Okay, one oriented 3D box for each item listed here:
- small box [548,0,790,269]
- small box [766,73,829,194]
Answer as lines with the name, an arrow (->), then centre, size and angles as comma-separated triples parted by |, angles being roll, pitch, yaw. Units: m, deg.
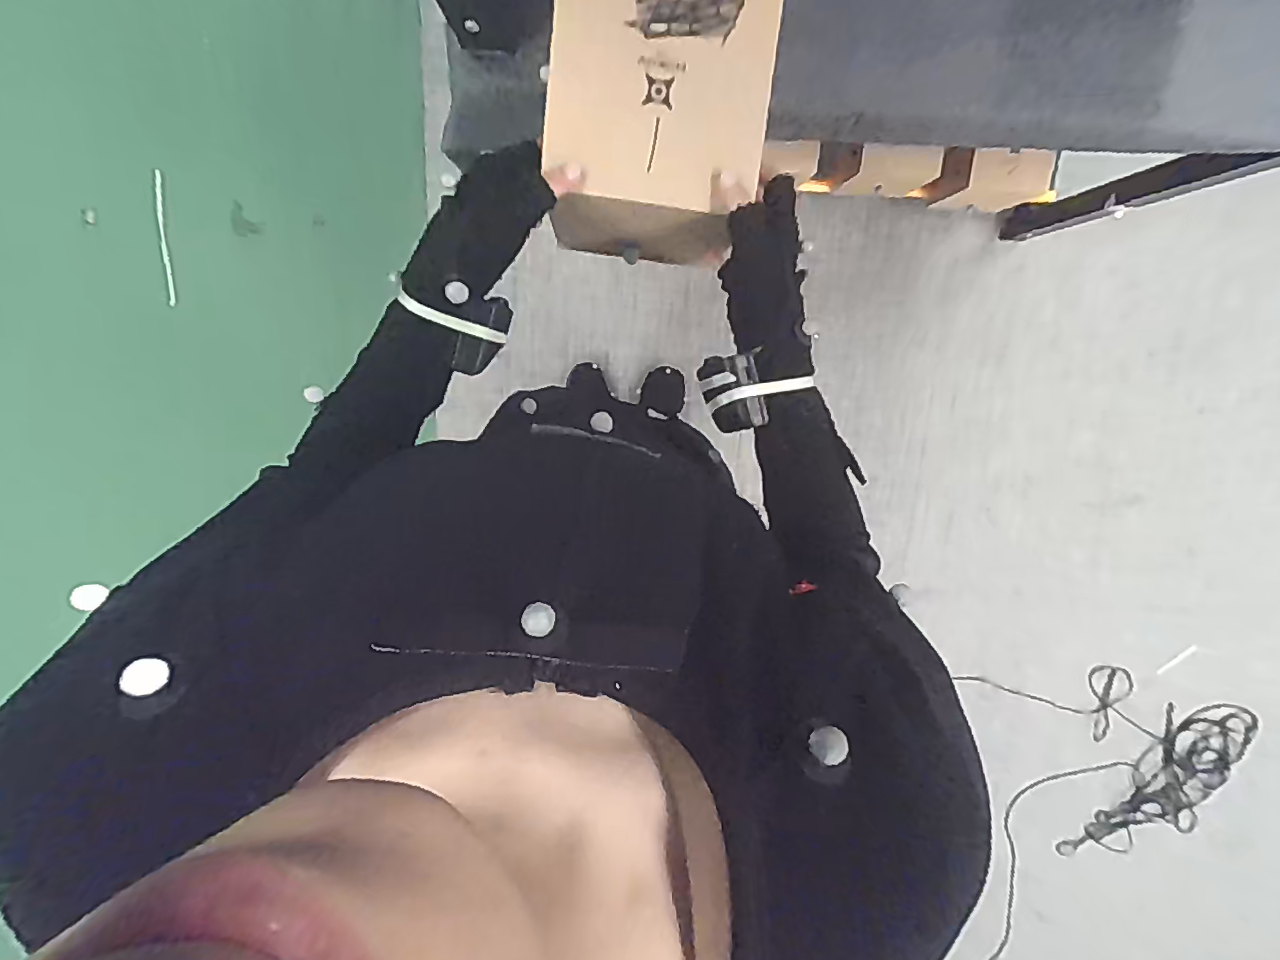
small box -> 0.016, -0.303, 0.470 | 0.168, 0.176, 0.179 | 5, 97, -4
small box -> 0.277, -0.717, 1.136 | 0.168, 0.176, 0.179 | 3, 104, -2
